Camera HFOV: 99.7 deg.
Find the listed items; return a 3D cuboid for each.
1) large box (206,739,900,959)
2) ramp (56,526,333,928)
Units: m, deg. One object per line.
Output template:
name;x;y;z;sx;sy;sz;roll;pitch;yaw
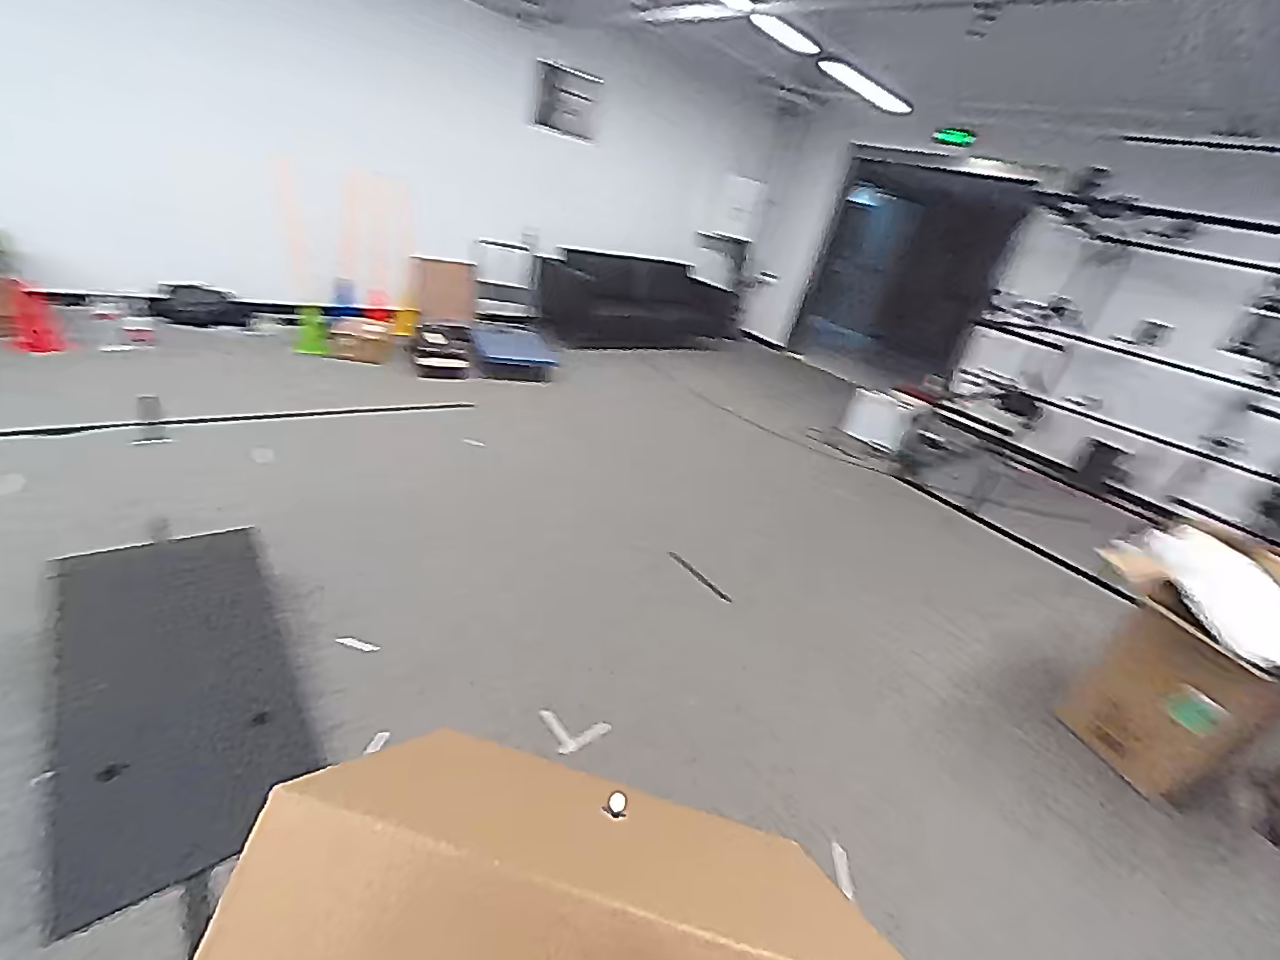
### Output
large box;-0.073;0.423;0.409;0.408;0.320;0.320;15;-17;2
ramp;-1.209;0.515;1.449;0.509;0.206;0.991;-10;37;-42
